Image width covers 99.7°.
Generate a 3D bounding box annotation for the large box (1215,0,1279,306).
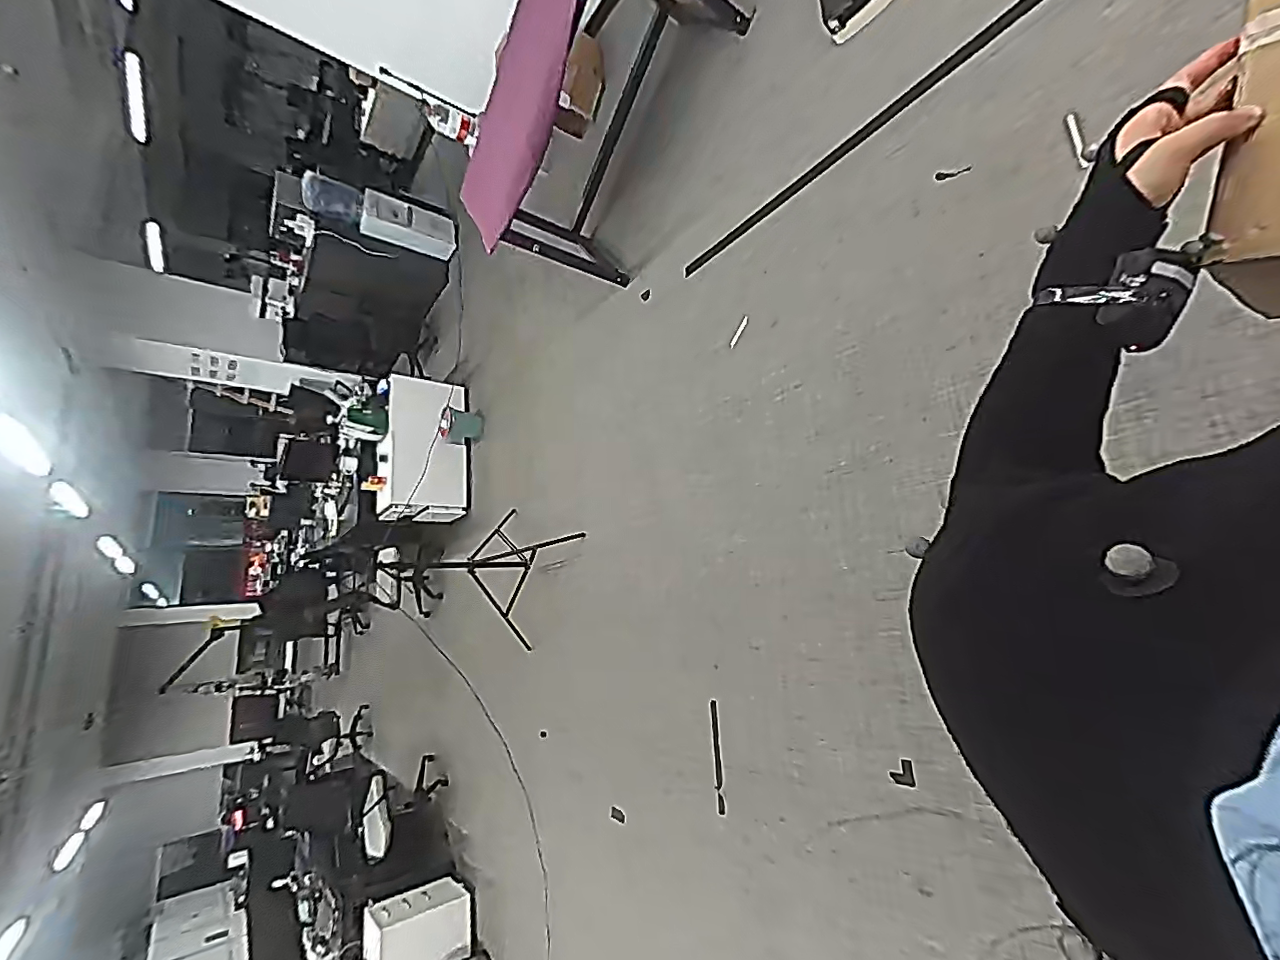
[{"bbox_3d":[0.678,-0.297,0.312,0.408,0.320,0.320,15,103,54],"label":"large box"}]
